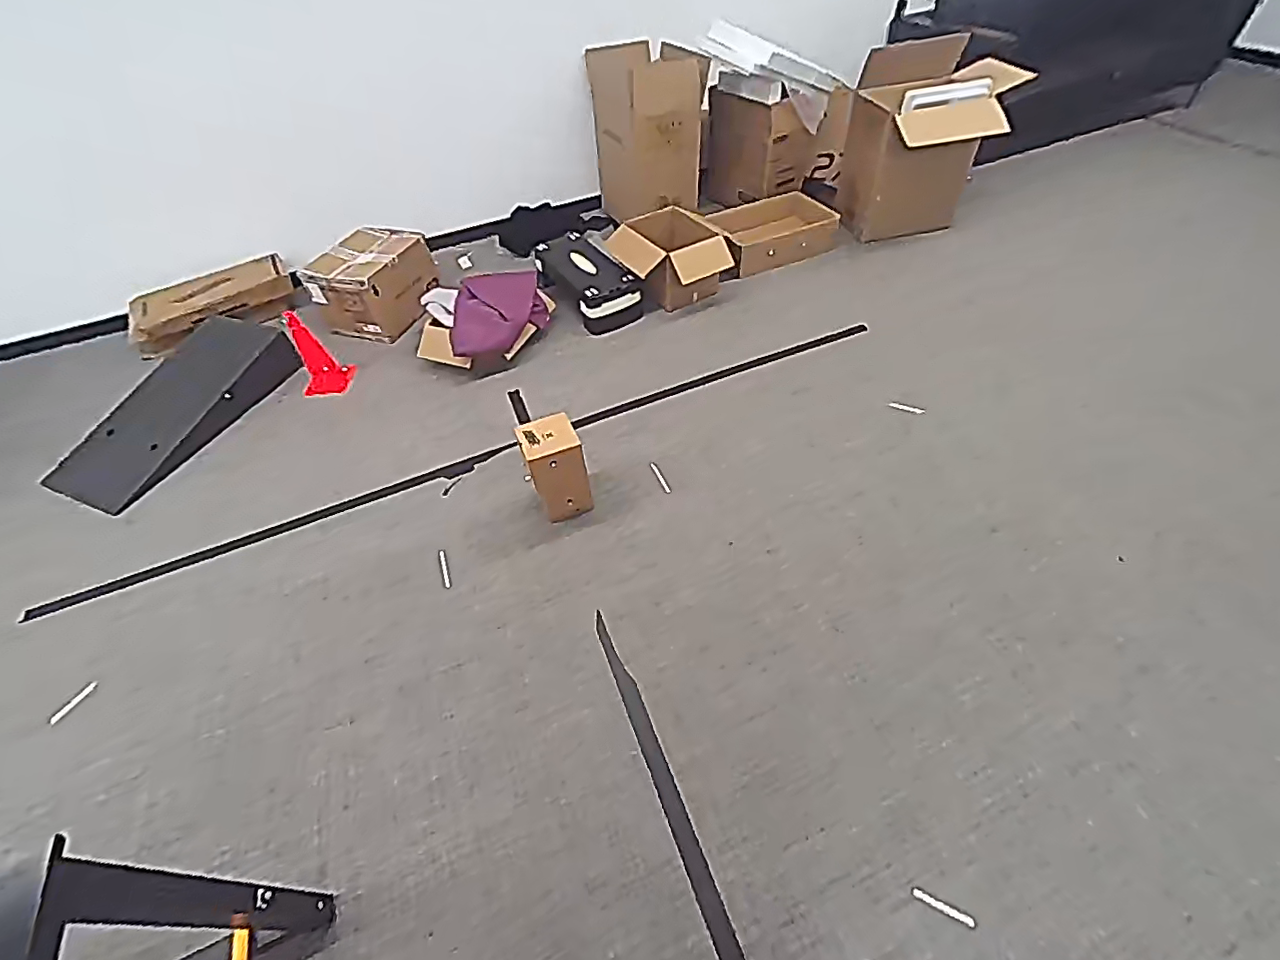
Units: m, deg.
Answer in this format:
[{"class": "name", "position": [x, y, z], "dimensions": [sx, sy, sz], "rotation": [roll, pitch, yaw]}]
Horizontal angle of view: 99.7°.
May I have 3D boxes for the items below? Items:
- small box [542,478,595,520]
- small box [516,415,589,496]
[{"class": "small box", "position": [-0.263, 0.020, 1.879], "dimensions": [0.168, 0.176, 0.179], "rotation": [-19, 51, -11]}, {"class": "small box", "position": [-0.278, -0.075, 1.742], "dimensions": [0.179, 0.176, 0.168], "rotation": [-20, 50, -12]}]
